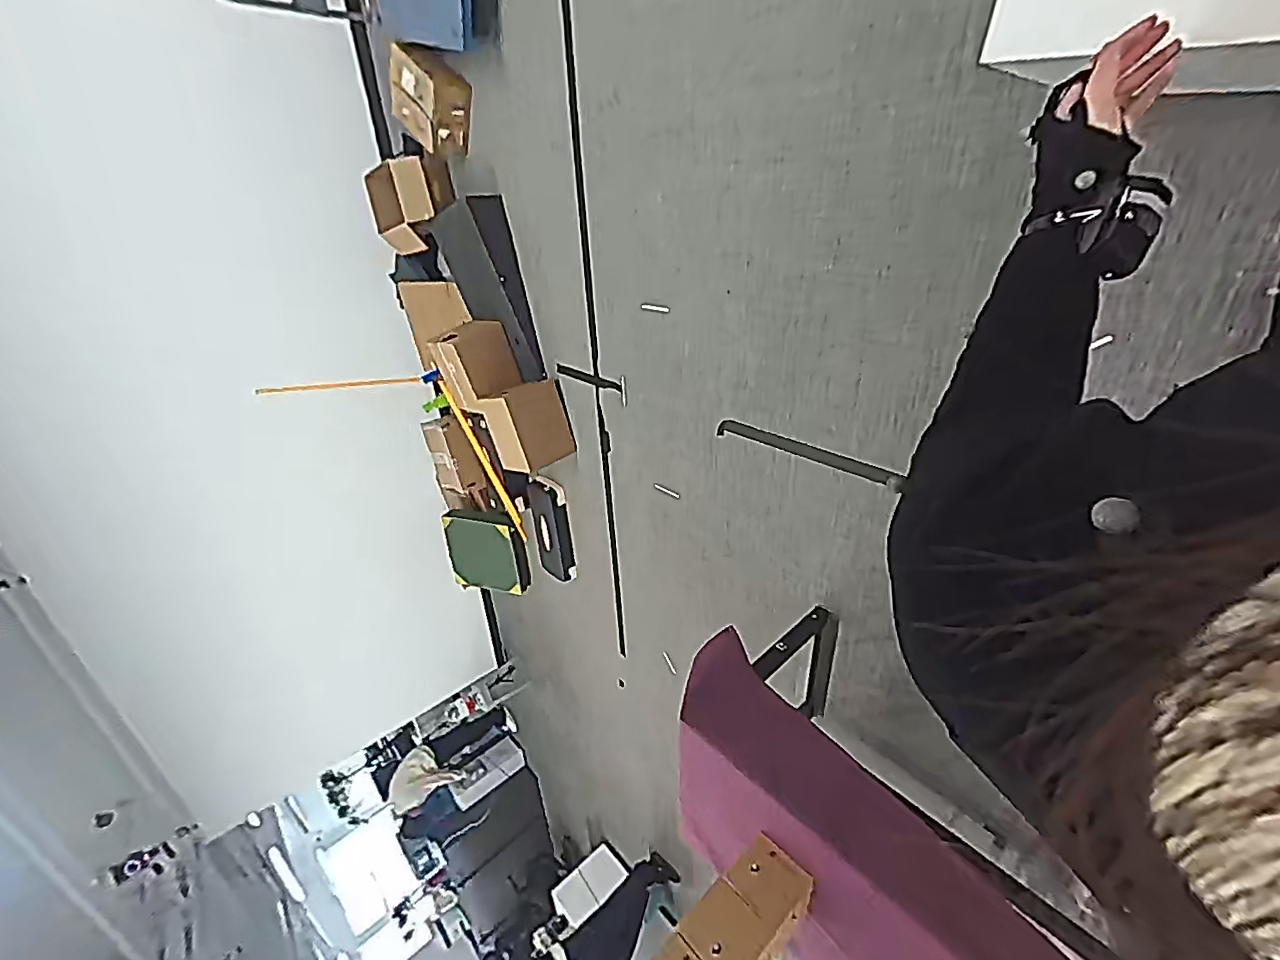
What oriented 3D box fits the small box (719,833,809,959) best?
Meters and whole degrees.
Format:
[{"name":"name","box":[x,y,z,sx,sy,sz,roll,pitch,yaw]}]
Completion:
[{"name":"small box","box":[0.319,1.074,1.404,0.168,0.176,0.179,27,130,42]}]

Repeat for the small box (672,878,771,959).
[{"name":"small box","box":[0.197,1.127,1.307,0.179,0.176,0.168,26,128,43]}]

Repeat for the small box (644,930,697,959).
[{"name":"small box","box":[0.072,1.186,1.218,0.168,0.176,0.179,26,129,42]}]
